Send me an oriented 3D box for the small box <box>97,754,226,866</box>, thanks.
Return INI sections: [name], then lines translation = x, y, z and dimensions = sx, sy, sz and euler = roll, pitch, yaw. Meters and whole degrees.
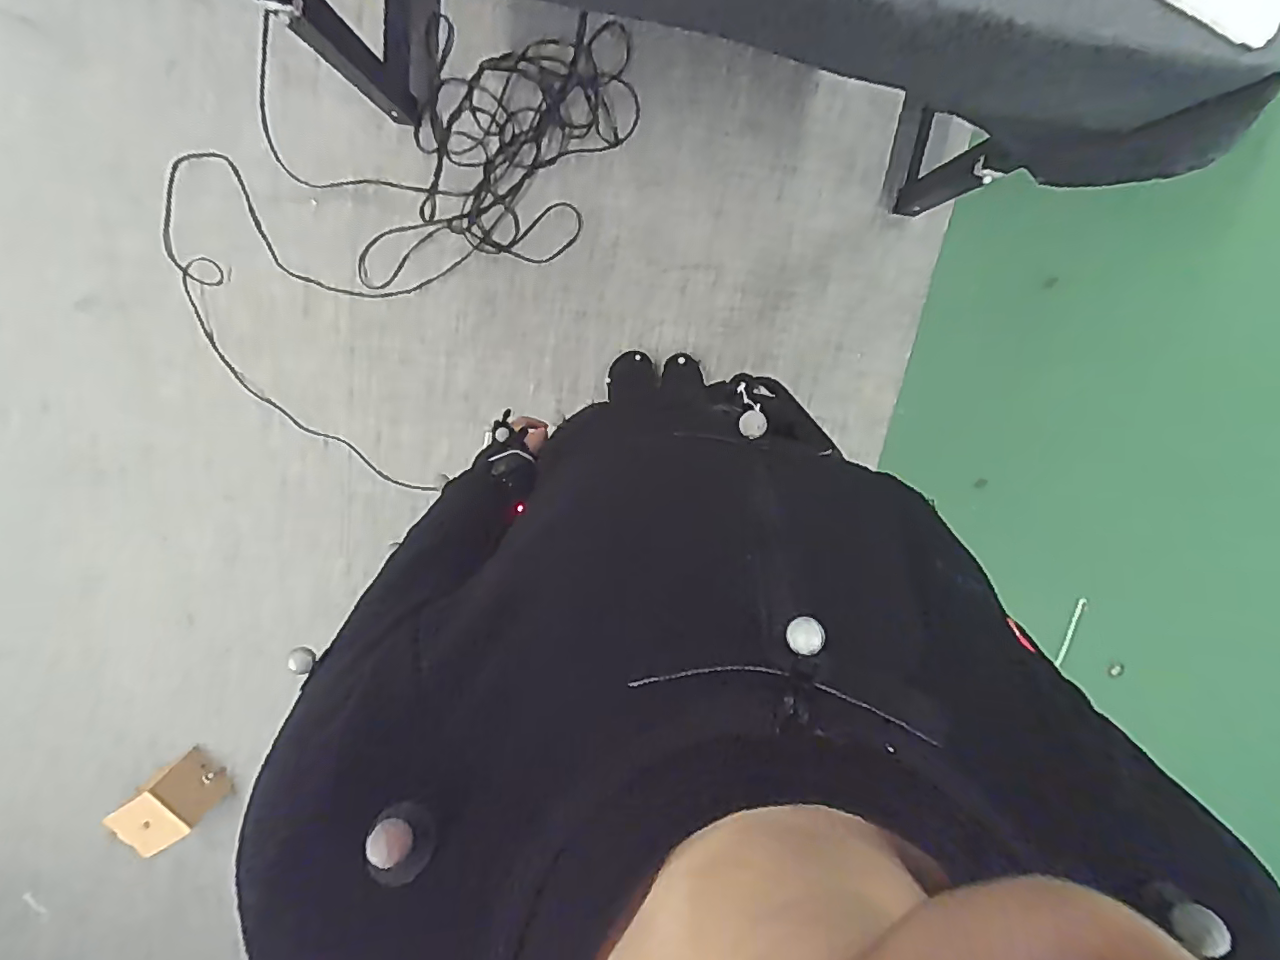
[small box]
translation = -1.328, 0.919, 1.516
dimensions = 0.179, 0.176, 0.168
euler = -33, 103, 7
